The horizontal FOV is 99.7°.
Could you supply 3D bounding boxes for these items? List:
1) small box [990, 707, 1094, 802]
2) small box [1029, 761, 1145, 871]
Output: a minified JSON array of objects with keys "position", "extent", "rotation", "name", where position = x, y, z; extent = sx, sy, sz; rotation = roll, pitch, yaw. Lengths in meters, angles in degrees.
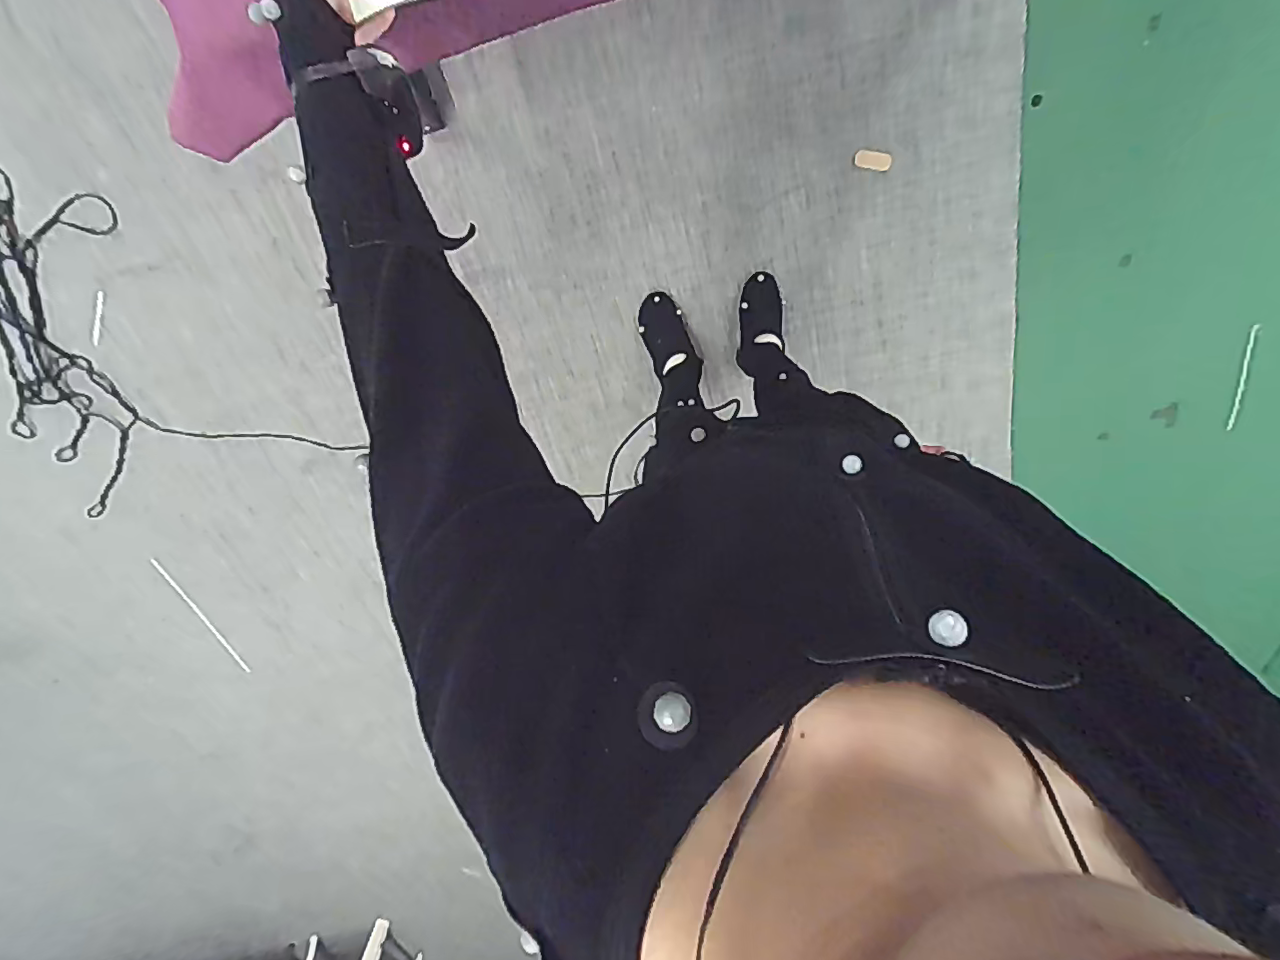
[{"position":[1.158,0.790,1.557],"extent":[0.179,0.176,0.168],"rotation":[-25,112,9],"name":"small box"},{"position":[1.158,0.866,1.412],"extent":[0.168,0.176,0.179],"rotation":[-23,113,8],"name":"small box"}]
